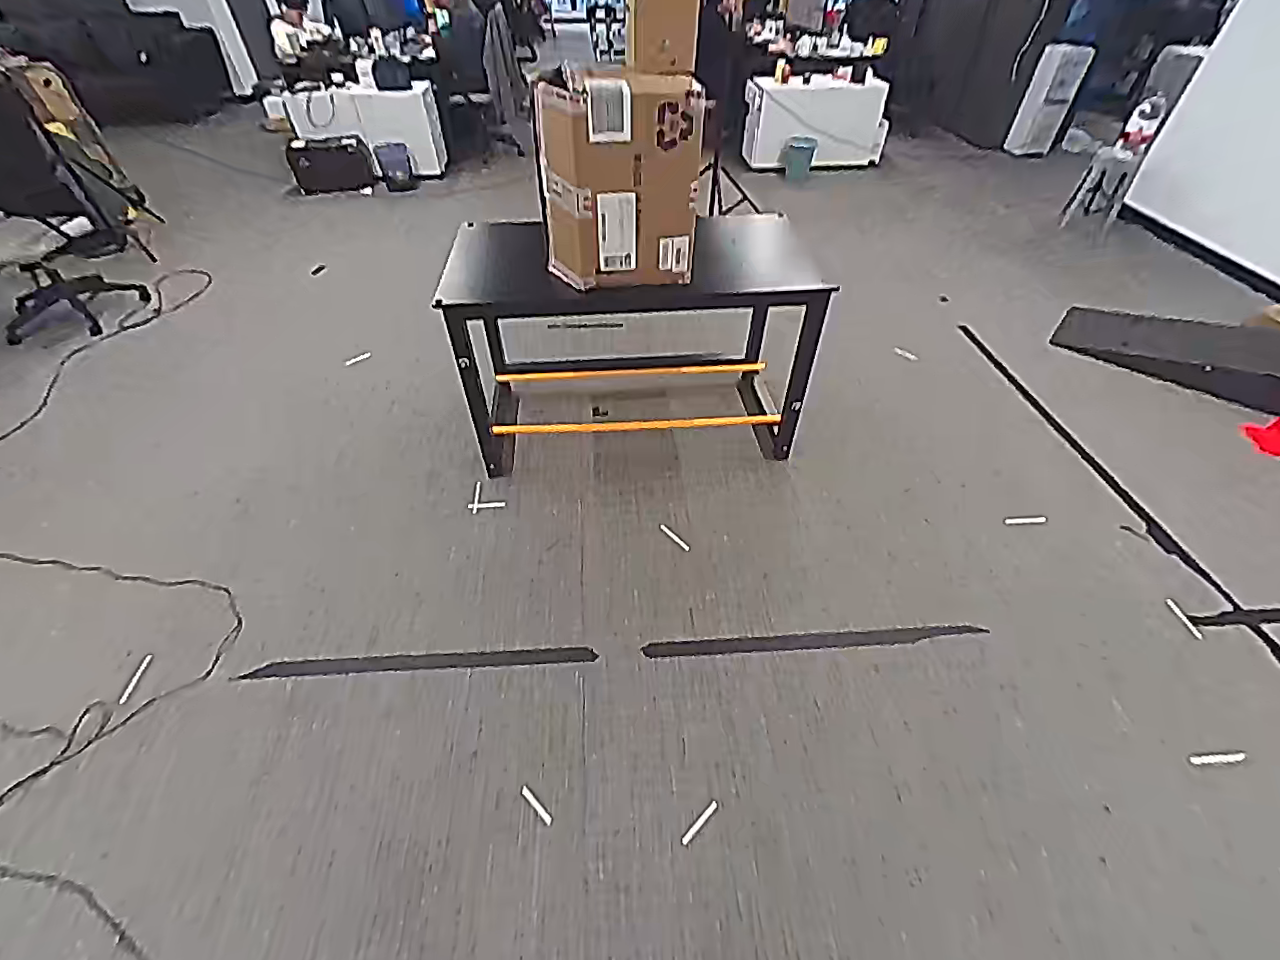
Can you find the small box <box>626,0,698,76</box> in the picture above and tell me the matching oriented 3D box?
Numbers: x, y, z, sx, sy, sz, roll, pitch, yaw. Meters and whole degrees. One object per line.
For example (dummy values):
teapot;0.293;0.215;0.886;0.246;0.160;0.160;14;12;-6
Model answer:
small box;0.052;-1.198;1.445;0.168;0.176;0.179;-5;44;-7
